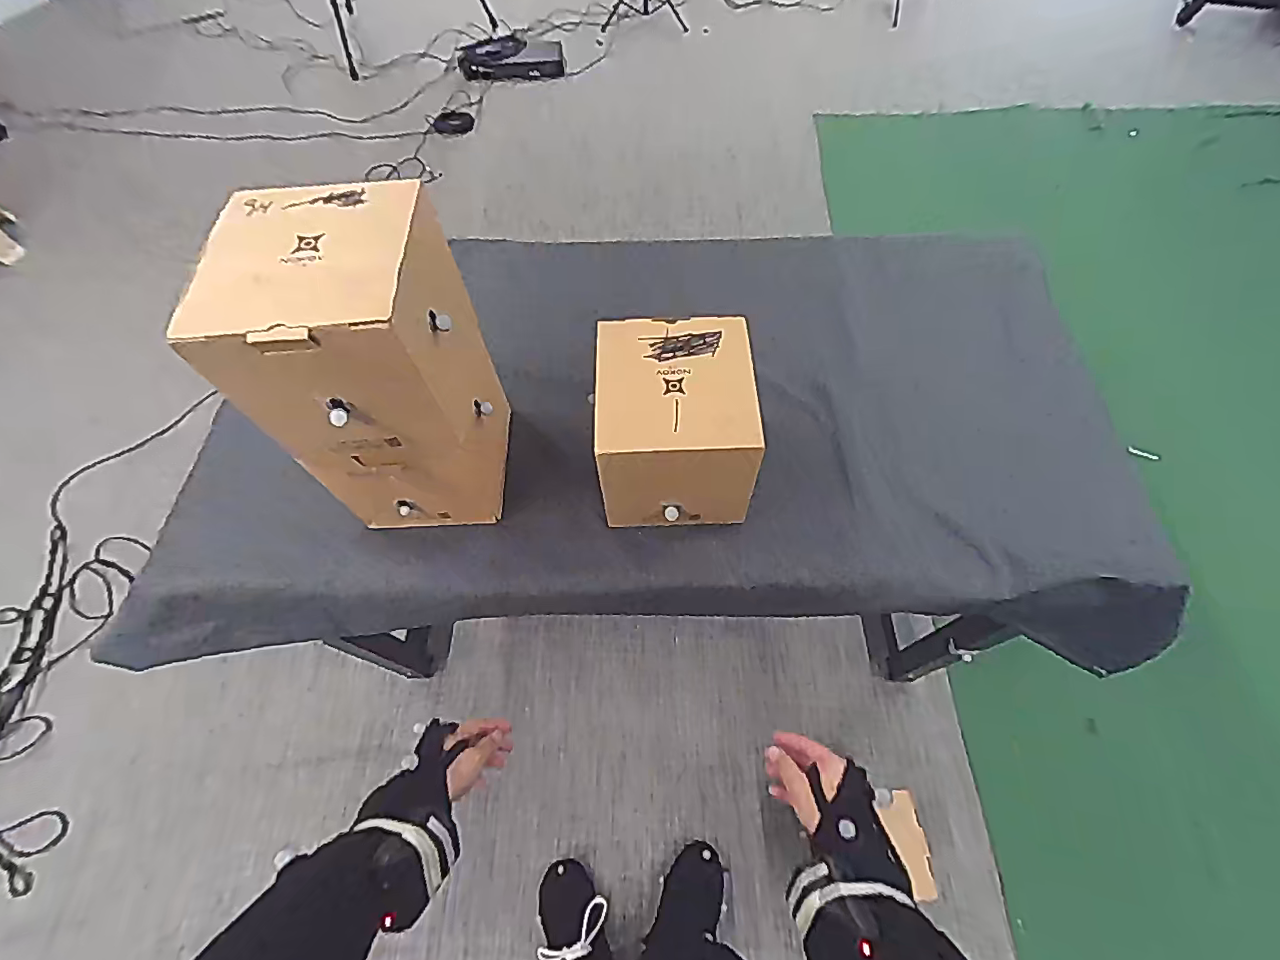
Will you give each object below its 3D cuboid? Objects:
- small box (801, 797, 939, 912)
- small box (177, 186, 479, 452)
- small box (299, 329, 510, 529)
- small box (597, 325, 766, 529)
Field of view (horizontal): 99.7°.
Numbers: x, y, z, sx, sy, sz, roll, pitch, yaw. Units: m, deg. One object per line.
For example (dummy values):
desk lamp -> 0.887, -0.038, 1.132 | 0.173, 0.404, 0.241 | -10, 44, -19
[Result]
small box -> 0.420, 0.696, 1.020 | 0.179, 0.176, 0.168 | -3, 59, 1
small box -> -0.258, -0.137, 0.502 | 0.168, 0.176, 0.179 | -4, 61, 0
small box -> -0.258, -0.056, 0.644 | 0.168, 0.176, 0.179 | -3, 60, 0
small box -> 0.042, -0.057, 0.629 | 0.168, 0.176, 0.179 | -2, 59, 2
